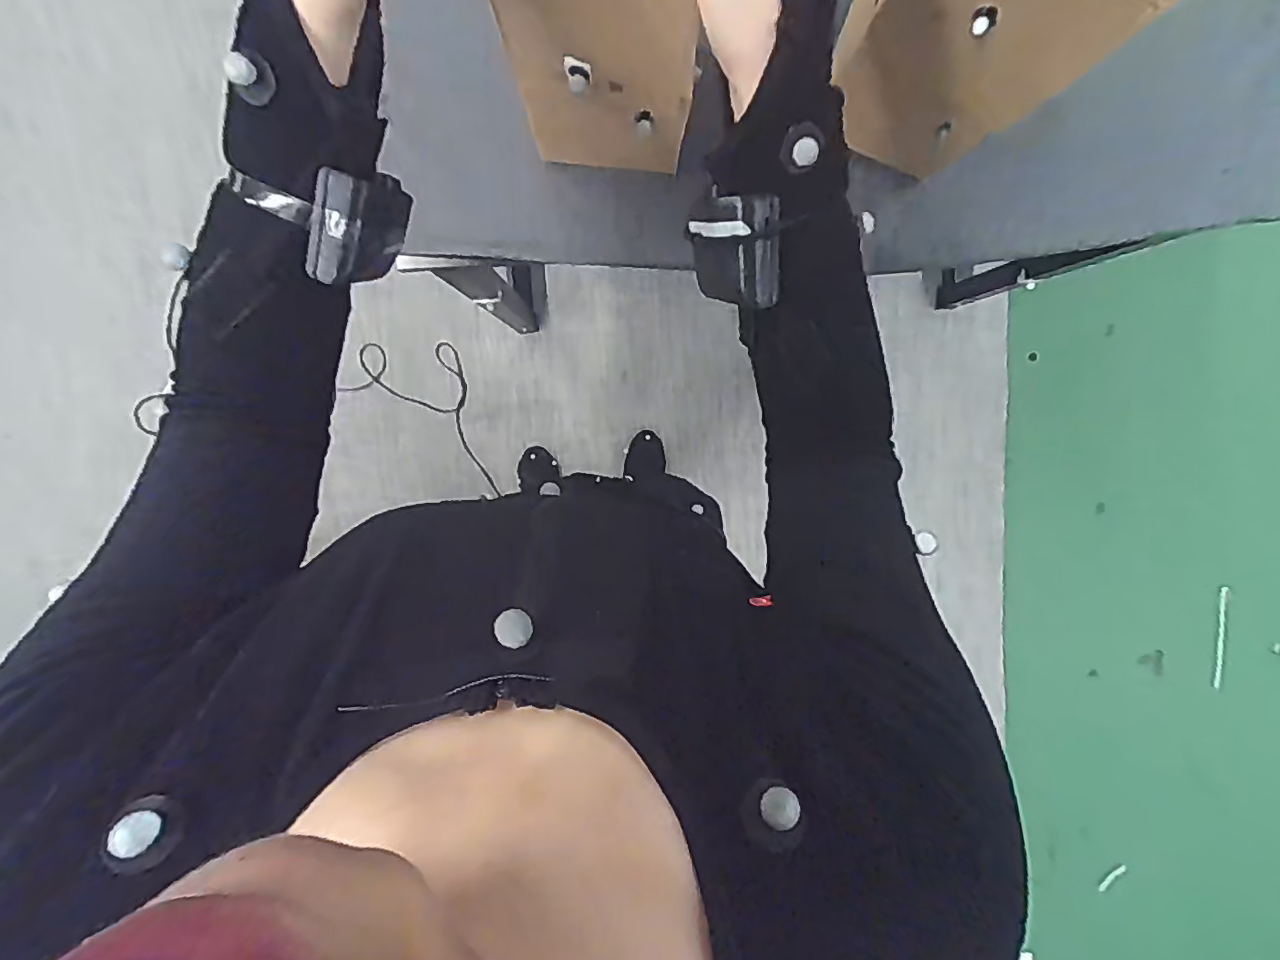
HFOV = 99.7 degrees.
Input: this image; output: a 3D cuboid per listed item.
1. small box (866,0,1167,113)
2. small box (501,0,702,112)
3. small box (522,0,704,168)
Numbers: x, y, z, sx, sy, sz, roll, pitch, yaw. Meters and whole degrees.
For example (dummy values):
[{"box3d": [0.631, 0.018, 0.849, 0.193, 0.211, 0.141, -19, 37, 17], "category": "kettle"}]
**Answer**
[{"box3d": [0.333, -0.456, 0.453, 0.179, 0.176, 0.168, 27, 95, -5], "category": "small box"}, {"box3d": [-0.024, -0.453, 0.447, 0.168, 0.176, 0.179, 10, 98, -2], "category": "small box"}, {"box3d": [-0.027, -0.476, 0.607, 0.179, 0.176, 0.168, 4, 96, -2], "category": "small box"}]
